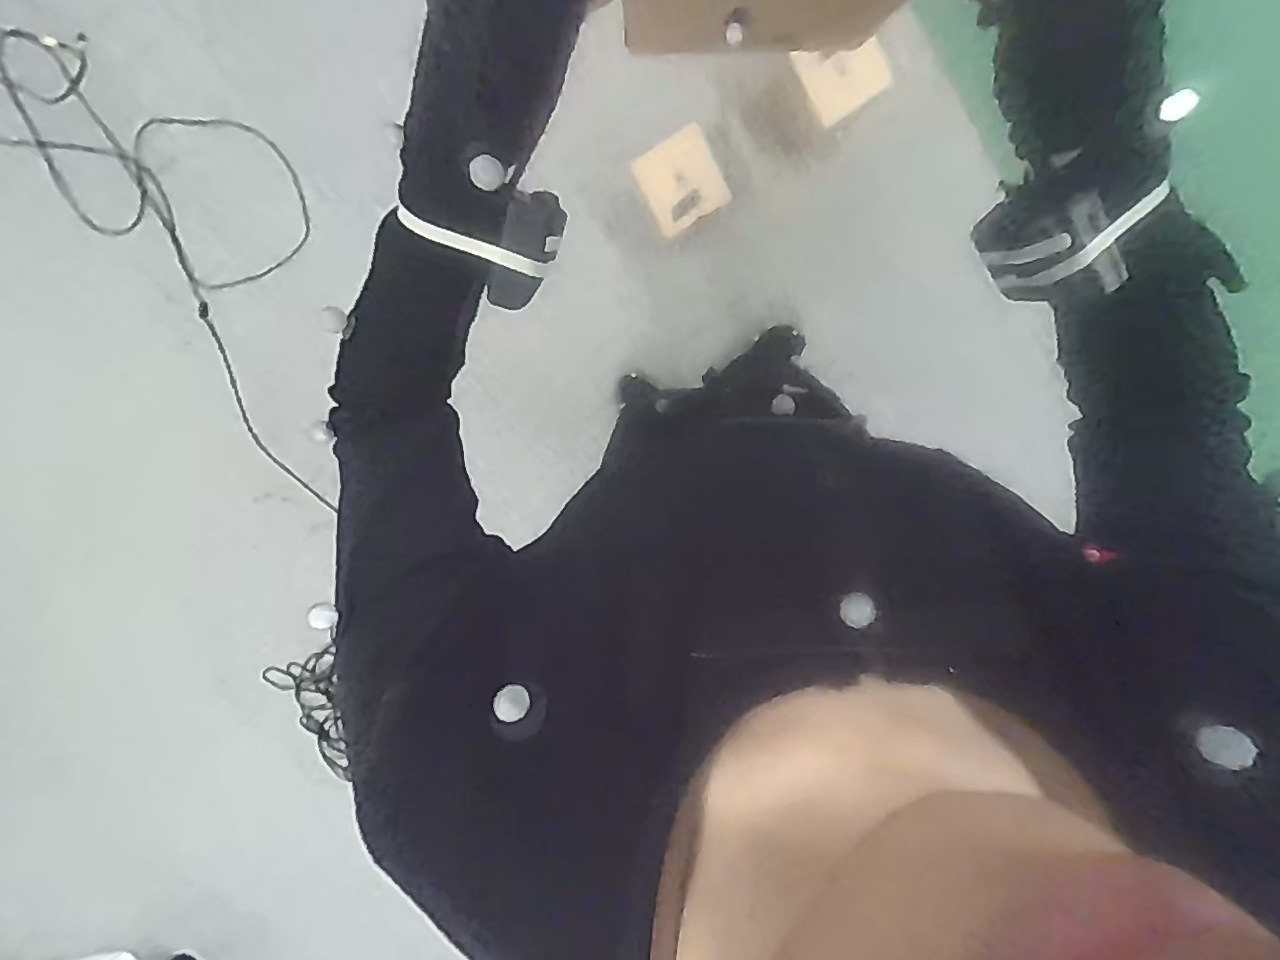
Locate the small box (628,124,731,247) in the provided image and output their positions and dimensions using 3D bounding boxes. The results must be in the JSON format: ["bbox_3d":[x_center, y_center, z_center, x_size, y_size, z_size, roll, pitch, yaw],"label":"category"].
[{"bbox_3d":[0.087,-0.655,1.232,0.168,0.176,0.179,-29,101,7],"label":"small box"}]
